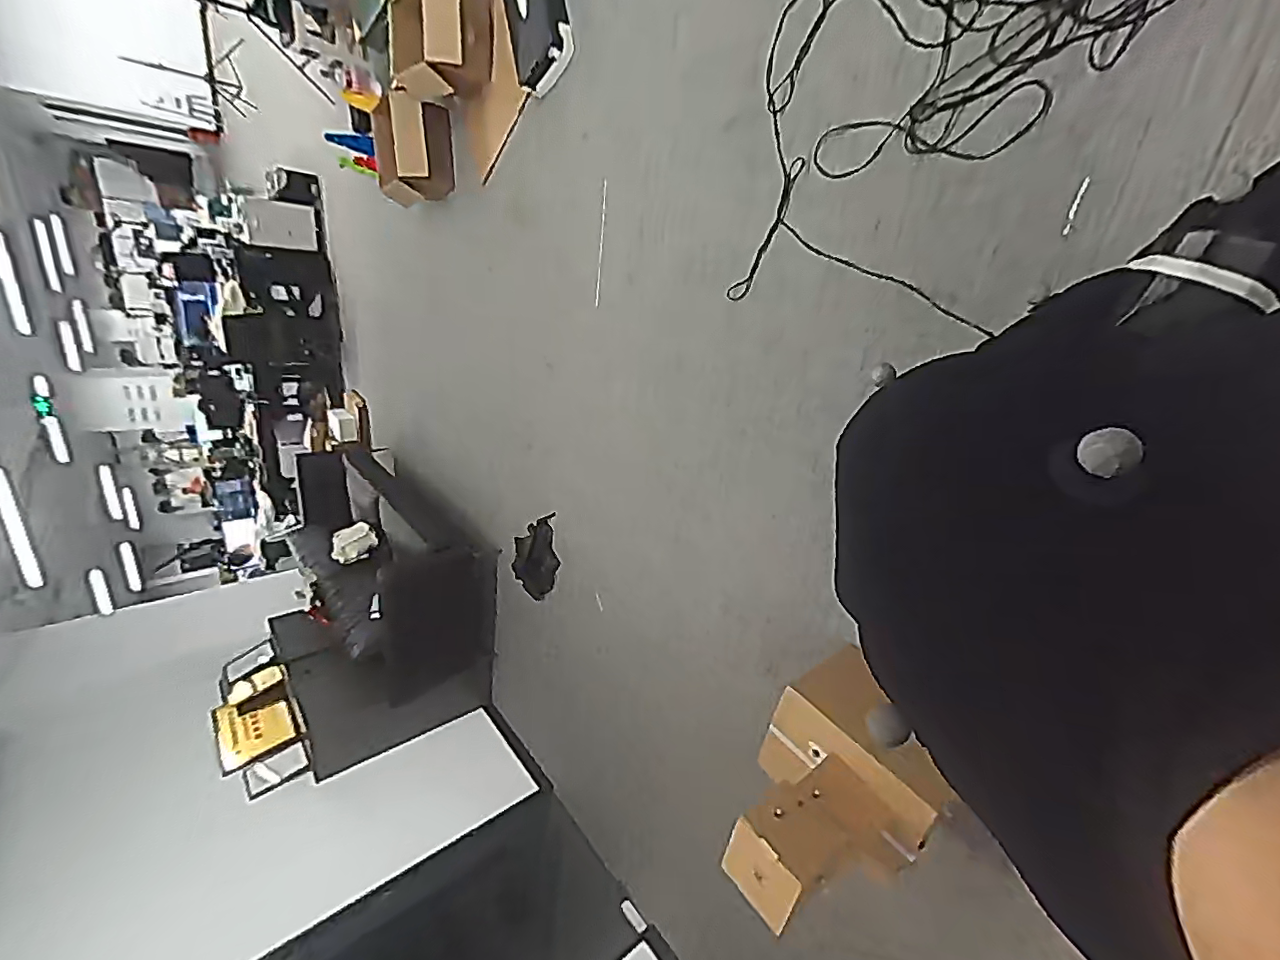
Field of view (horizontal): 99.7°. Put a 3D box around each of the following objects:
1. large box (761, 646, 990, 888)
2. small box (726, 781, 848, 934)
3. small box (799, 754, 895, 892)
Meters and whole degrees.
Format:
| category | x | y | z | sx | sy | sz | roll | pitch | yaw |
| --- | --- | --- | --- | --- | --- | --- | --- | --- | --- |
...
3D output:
| category | x | y | z | sx | sy | sz | roll | pitch | yaw |
| --- | --- | --- | --- | --- | --- | --- | --- | --- | --- |
| large box | 0.603 | 0.720 | 1.422 | 0.408 | 0.320 | 0.320 | 36 | 125 | 41 |
| small box | 0.313 | 0.788 | 1.149 | 0.168 | 0.176 | 0.179 | 34 | 126 | 43 |
| small box | 0.446 | 0.779 | 1.243 | 0.179 | 0.176 | 0.168 | 42 | 129 | 37 |
